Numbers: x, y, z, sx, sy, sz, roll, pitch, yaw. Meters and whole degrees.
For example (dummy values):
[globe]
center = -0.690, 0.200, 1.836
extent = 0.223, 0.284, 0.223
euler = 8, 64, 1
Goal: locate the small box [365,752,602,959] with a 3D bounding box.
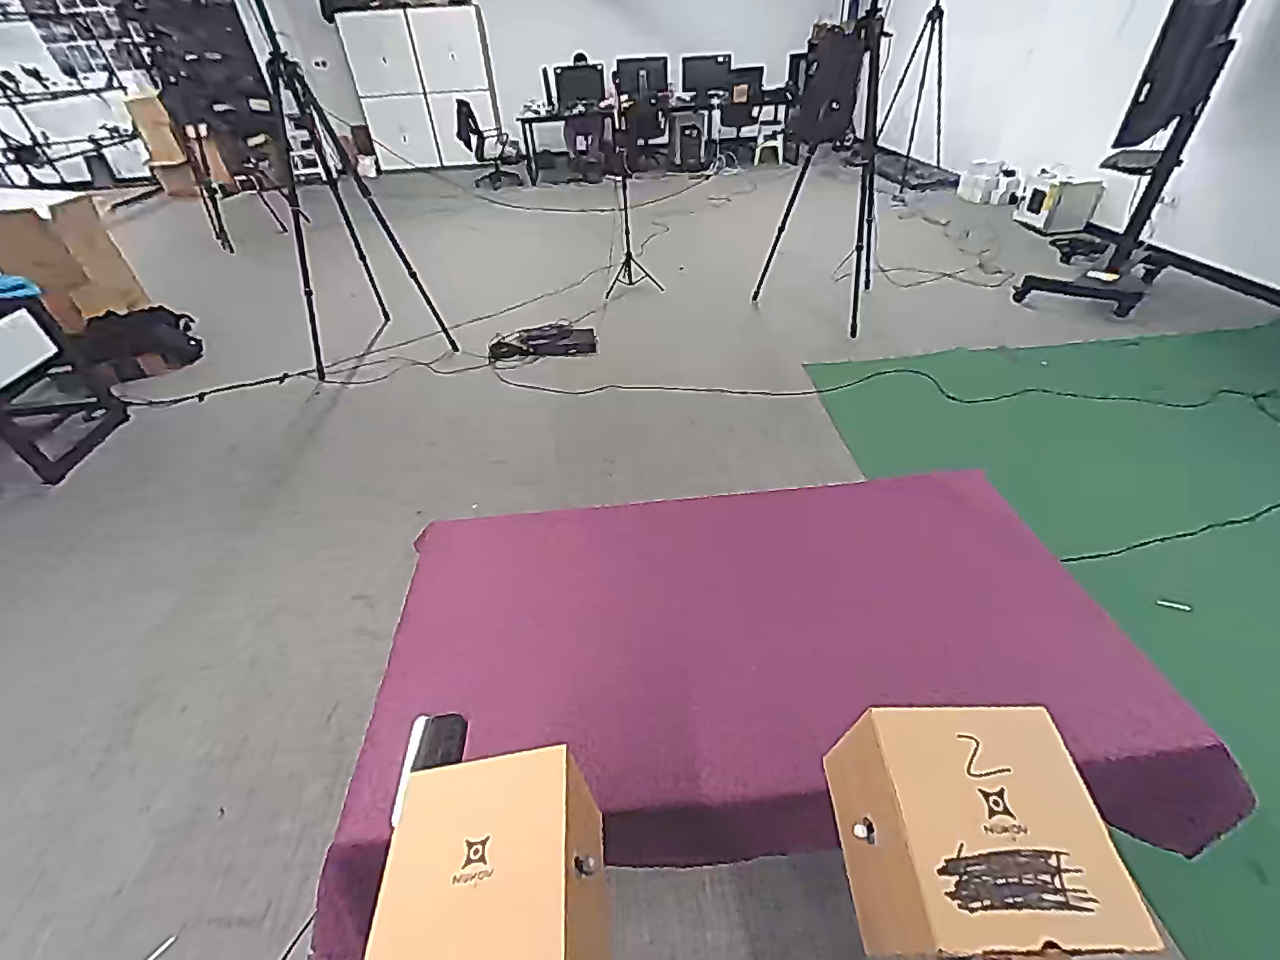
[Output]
[small box]
center = -0.134, 0.401, 0.526
extent = 0.168, 0.176, 0.179
euler = -11, 38, 1
